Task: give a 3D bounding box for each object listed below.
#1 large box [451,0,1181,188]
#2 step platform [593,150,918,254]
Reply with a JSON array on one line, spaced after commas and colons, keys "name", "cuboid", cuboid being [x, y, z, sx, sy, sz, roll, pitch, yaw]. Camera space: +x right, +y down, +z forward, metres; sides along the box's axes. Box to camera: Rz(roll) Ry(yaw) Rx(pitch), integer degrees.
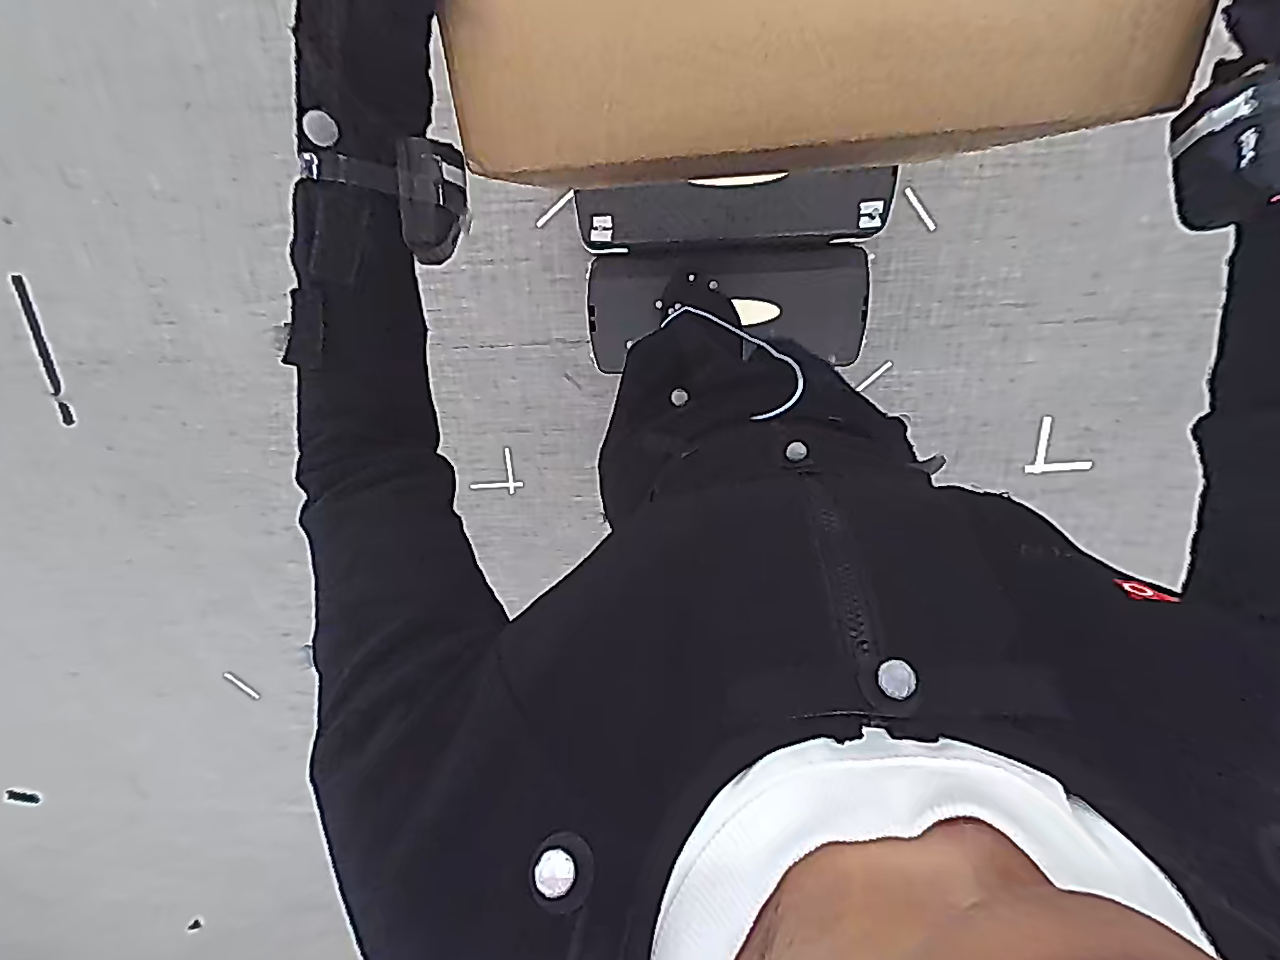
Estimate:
[{"name": "large box", "cuboid": [0.088, -0.409, 0.389, 0.408, 0.320, 0.320, -3, 117, 4]}, {"name": "step platform", "cuboid": [0.235, -0.672, 1.190, 0.684, 0.204, 0.286, -2, 110, 2]}]
